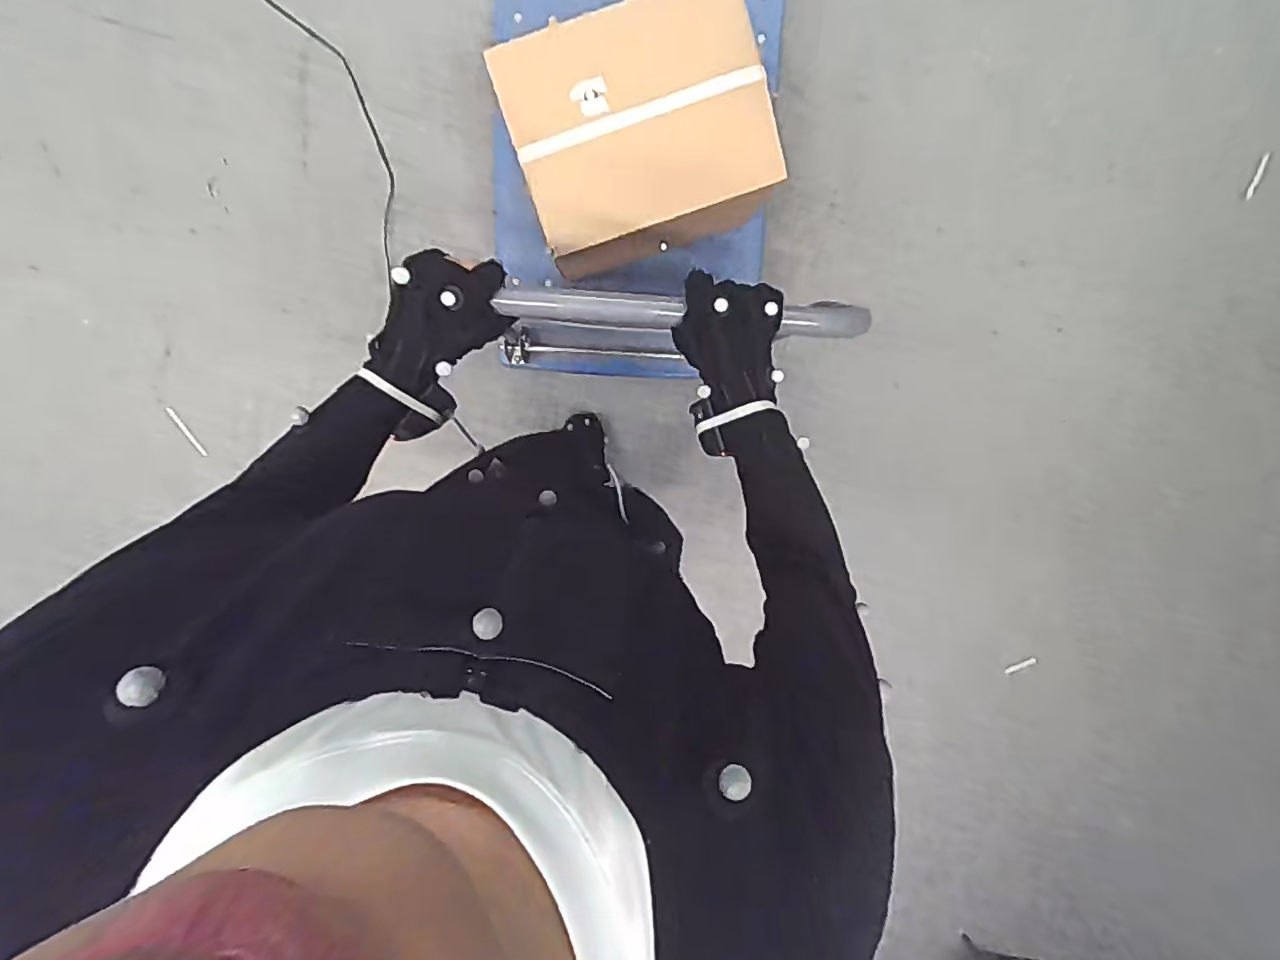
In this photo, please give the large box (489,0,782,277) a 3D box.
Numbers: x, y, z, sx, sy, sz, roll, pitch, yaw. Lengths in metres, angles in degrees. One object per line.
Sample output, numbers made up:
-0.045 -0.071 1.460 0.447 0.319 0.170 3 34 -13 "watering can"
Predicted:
-0.005 -0.610 1.000 0.408 0.320 0.320 -18 102 2 "large box"
